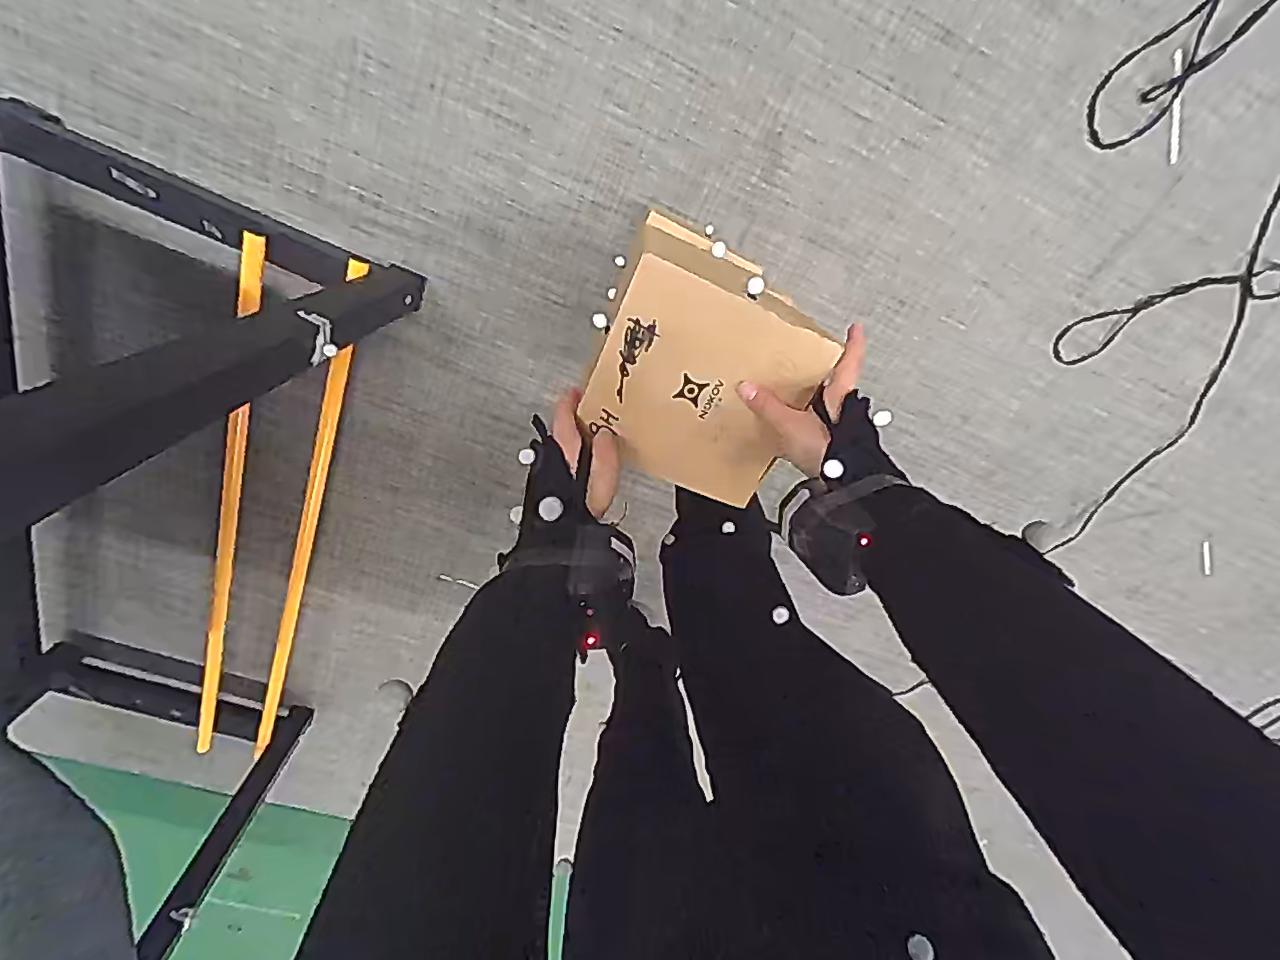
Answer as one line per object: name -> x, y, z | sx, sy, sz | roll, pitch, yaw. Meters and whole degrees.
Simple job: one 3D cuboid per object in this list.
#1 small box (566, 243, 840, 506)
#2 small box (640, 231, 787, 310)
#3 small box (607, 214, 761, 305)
small box -> 0.046, -0.108, 0.511 | 0.179, 0.176, 0.168 | 22, 115, -13
small box -> 0.050, -0.181, 0.659 | 0.168, 0.176, 0.179 | 20, 116, -11
small box -> 0.050, -0.270, 0.796 | 0.168, 0.176, 0.179 | 23, 115, -11
